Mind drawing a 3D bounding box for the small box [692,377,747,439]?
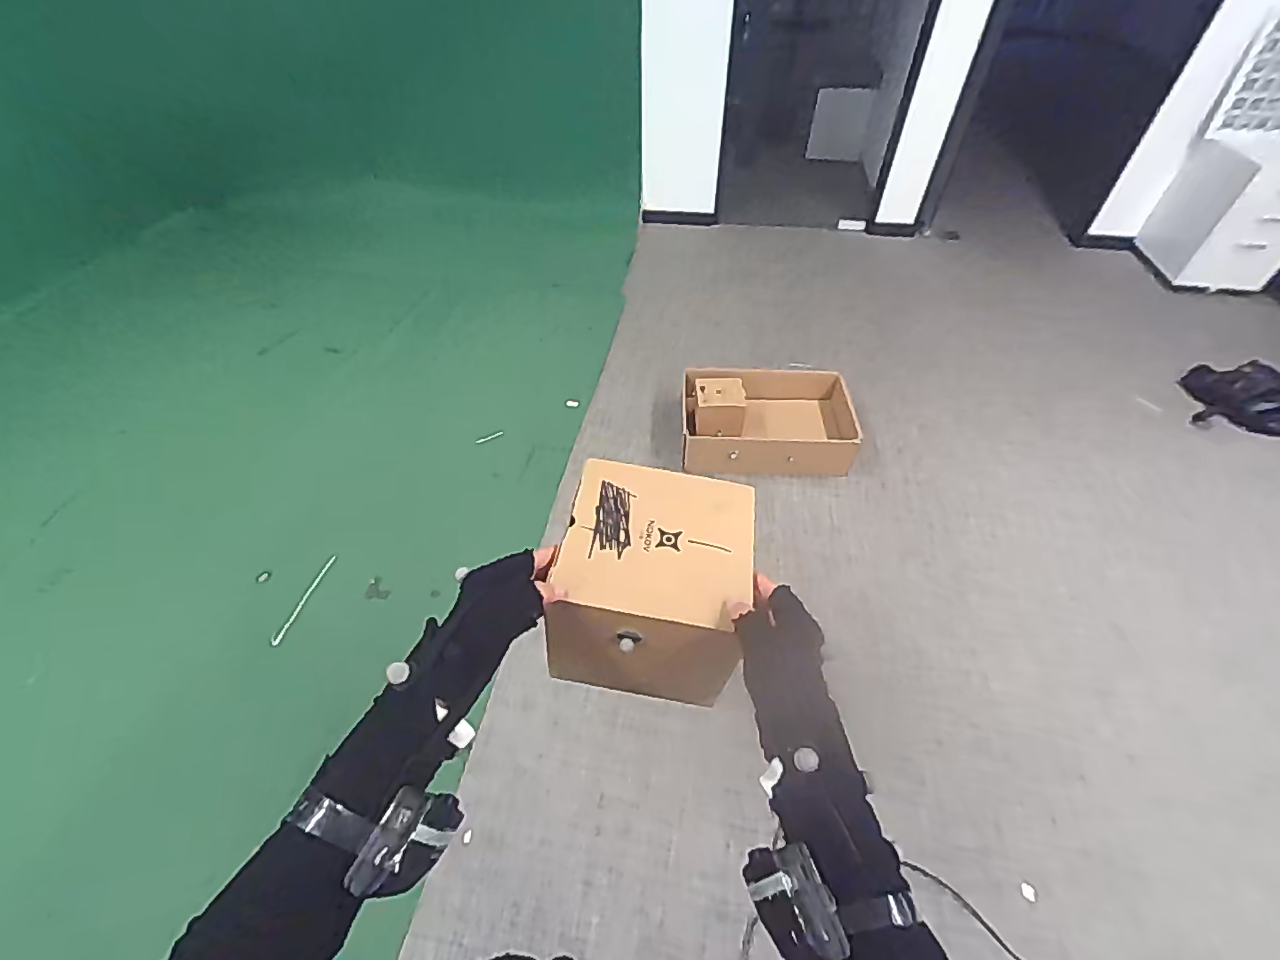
[{"bbox_3d":[0.295,-0.269,2.042,0.179,0.176,0.168,1,47,-1],"label":"small box"}]

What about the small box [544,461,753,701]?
[{"bbox_3d":[0.009,0.107,0.555,0.179,0.176,0.168,11,49,1],"label":"small box"}]
